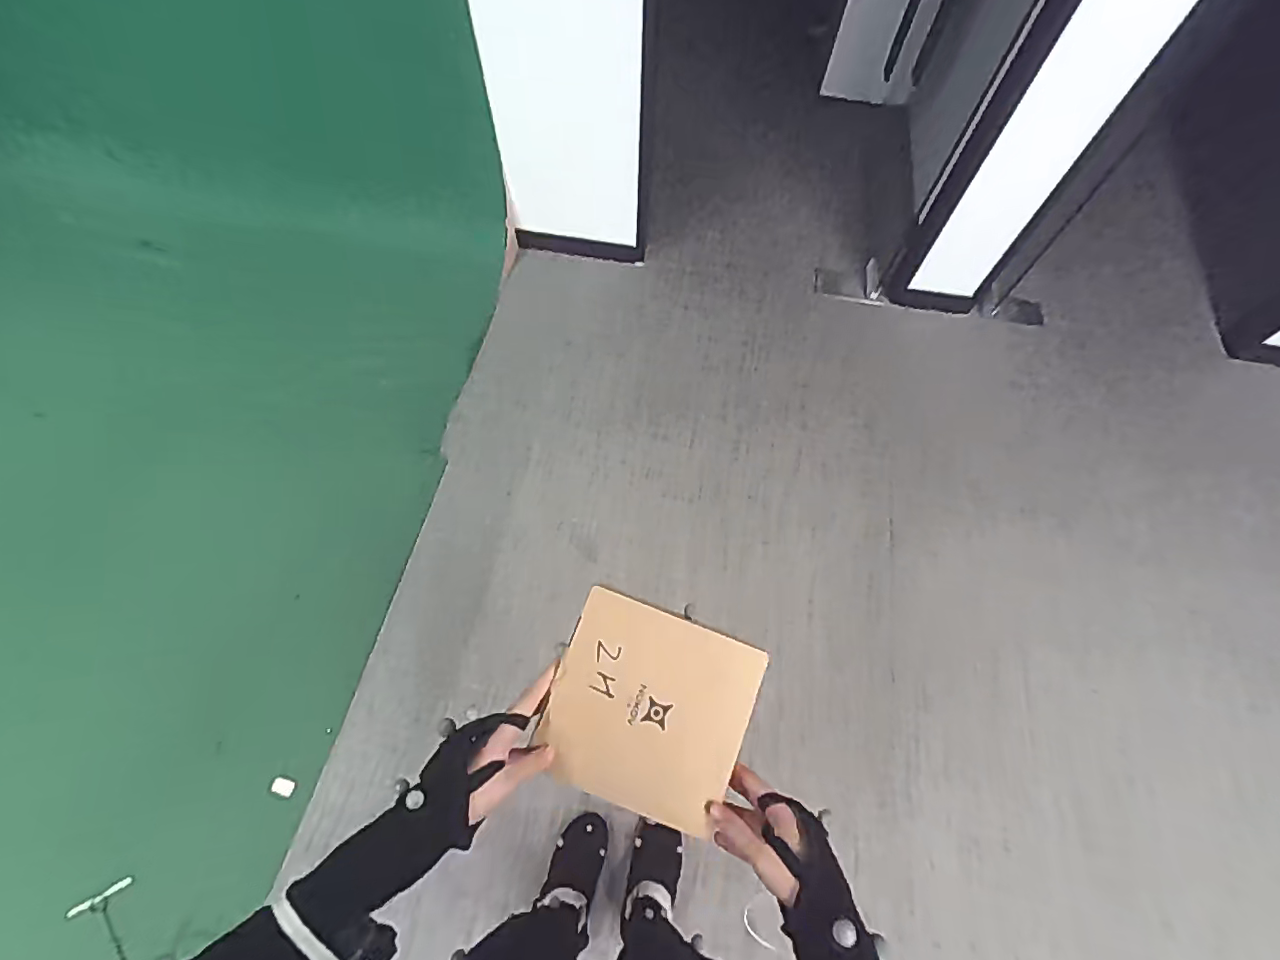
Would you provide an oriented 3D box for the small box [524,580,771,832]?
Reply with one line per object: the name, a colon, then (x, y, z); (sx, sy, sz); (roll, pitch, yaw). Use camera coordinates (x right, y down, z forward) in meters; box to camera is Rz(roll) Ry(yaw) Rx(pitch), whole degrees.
small box: (0.008, 0.210, 0.553); (0.179, 0.176, 0.168); (21, 78, 4)
